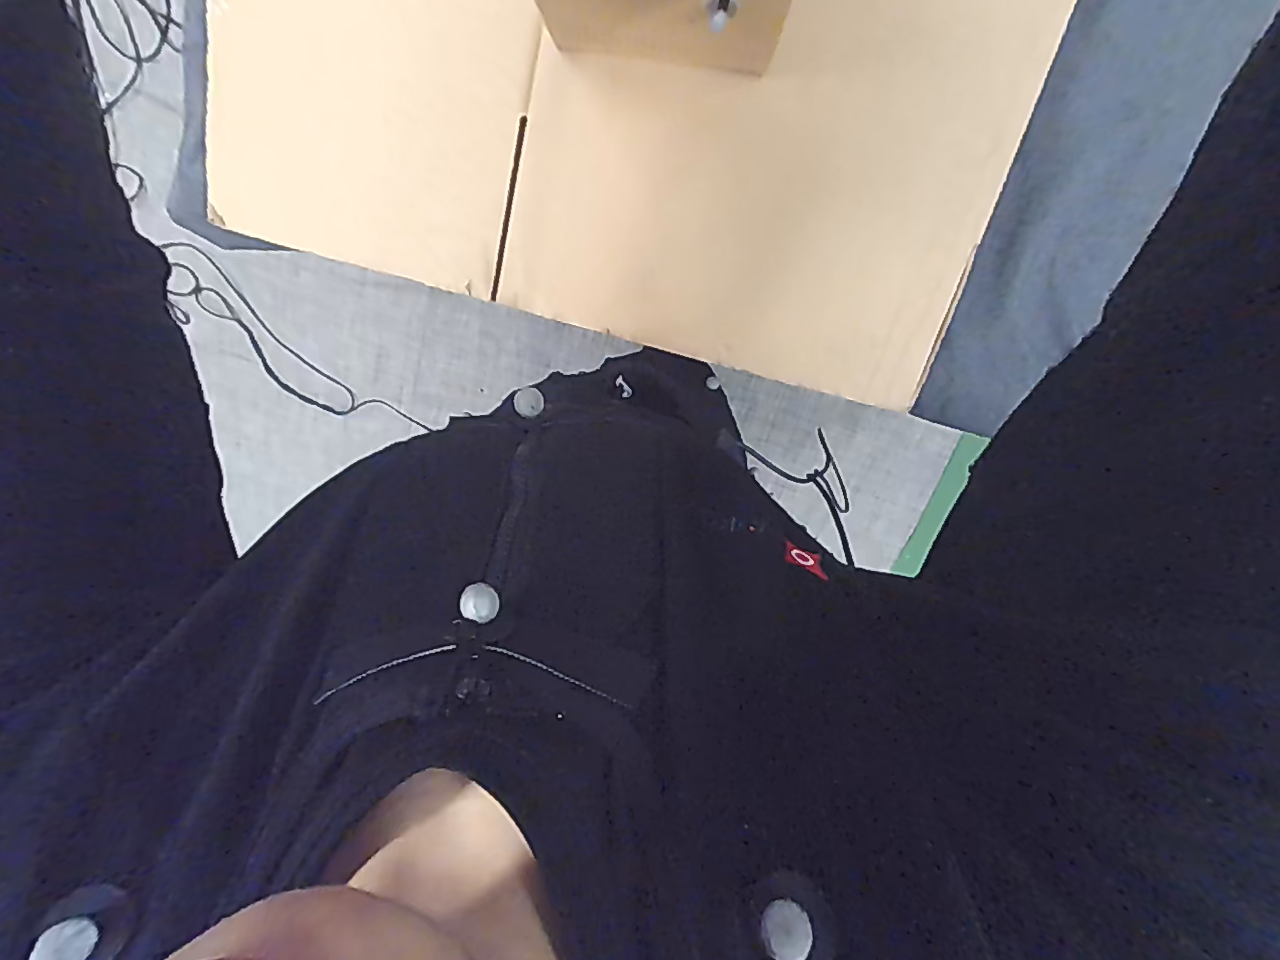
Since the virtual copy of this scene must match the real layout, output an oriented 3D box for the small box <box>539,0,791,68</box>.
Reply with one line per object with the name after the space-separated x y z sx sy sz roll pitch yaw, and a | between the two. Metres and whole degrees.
0.023 -0.387 0.330 0.179 0.176 0.168 9 105 3 | small box
